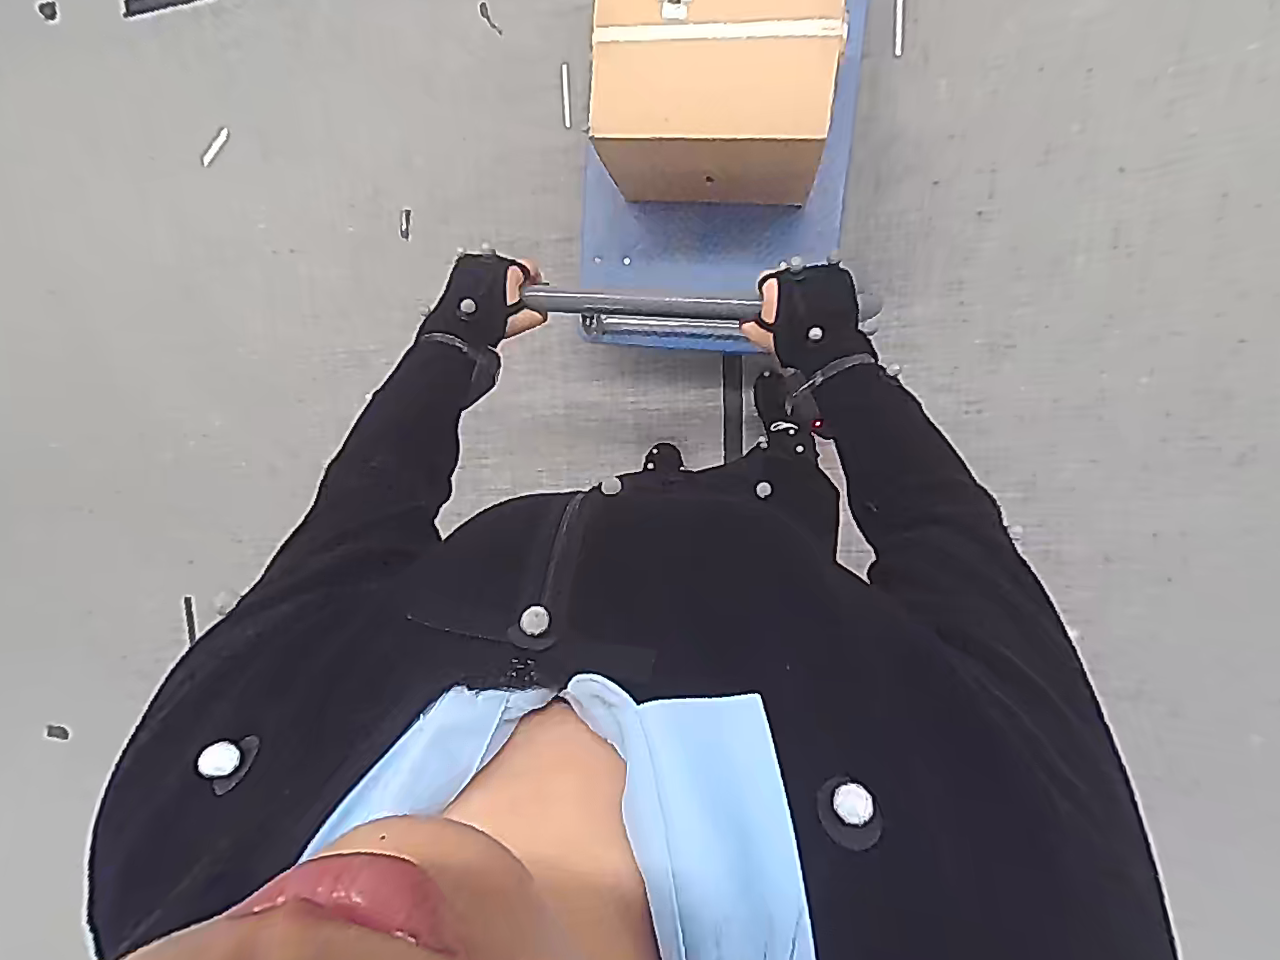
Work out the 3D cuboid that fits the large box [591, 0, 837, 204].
[{"bbox_3d":[0.146,-0.749,1.049,0.408,0.320,0.320,7,99,10],"label":"large box"}]
